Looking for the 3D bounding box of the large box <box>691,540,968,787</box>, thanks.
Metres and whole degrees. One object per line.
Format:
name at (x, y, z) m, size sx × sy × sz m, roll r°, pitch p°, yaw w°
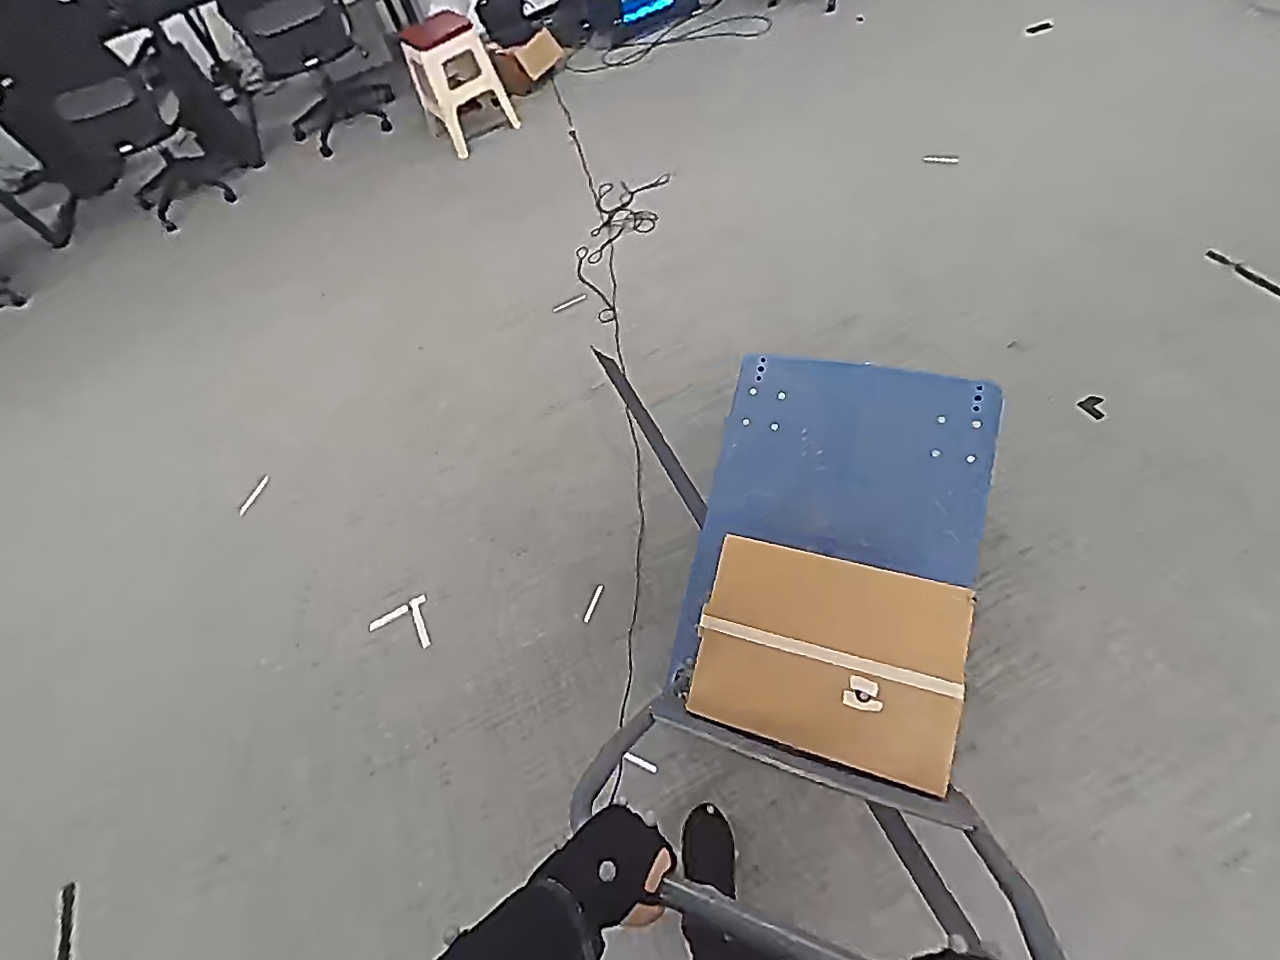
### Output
large box at (0.343, 0.321, 1.041) m, size 0.408 × 0.320 × 0.320 m, roll 12°, pitch 81°, yaw 17°
